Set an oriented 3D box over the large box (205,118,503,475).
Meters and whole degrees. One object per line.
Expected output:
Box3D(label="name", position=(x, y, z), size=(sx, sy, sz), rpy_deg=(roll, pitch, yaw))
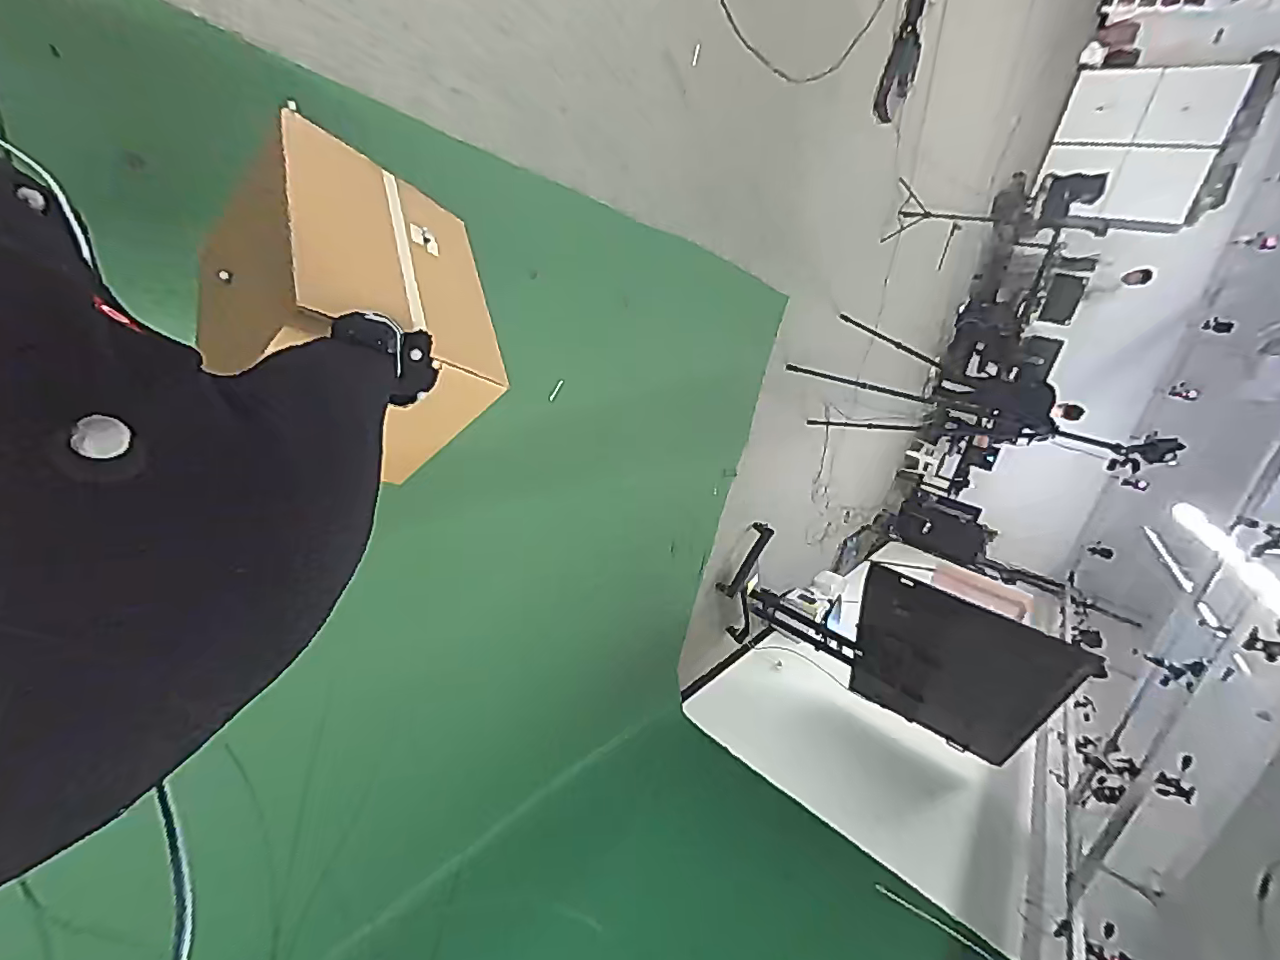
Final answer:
Box3D(label="large box", position=(-0.483, -0.265, 0.896), size=(0.320, 0.408, 0.320), rpy_deg=(-34, 153, 27))
